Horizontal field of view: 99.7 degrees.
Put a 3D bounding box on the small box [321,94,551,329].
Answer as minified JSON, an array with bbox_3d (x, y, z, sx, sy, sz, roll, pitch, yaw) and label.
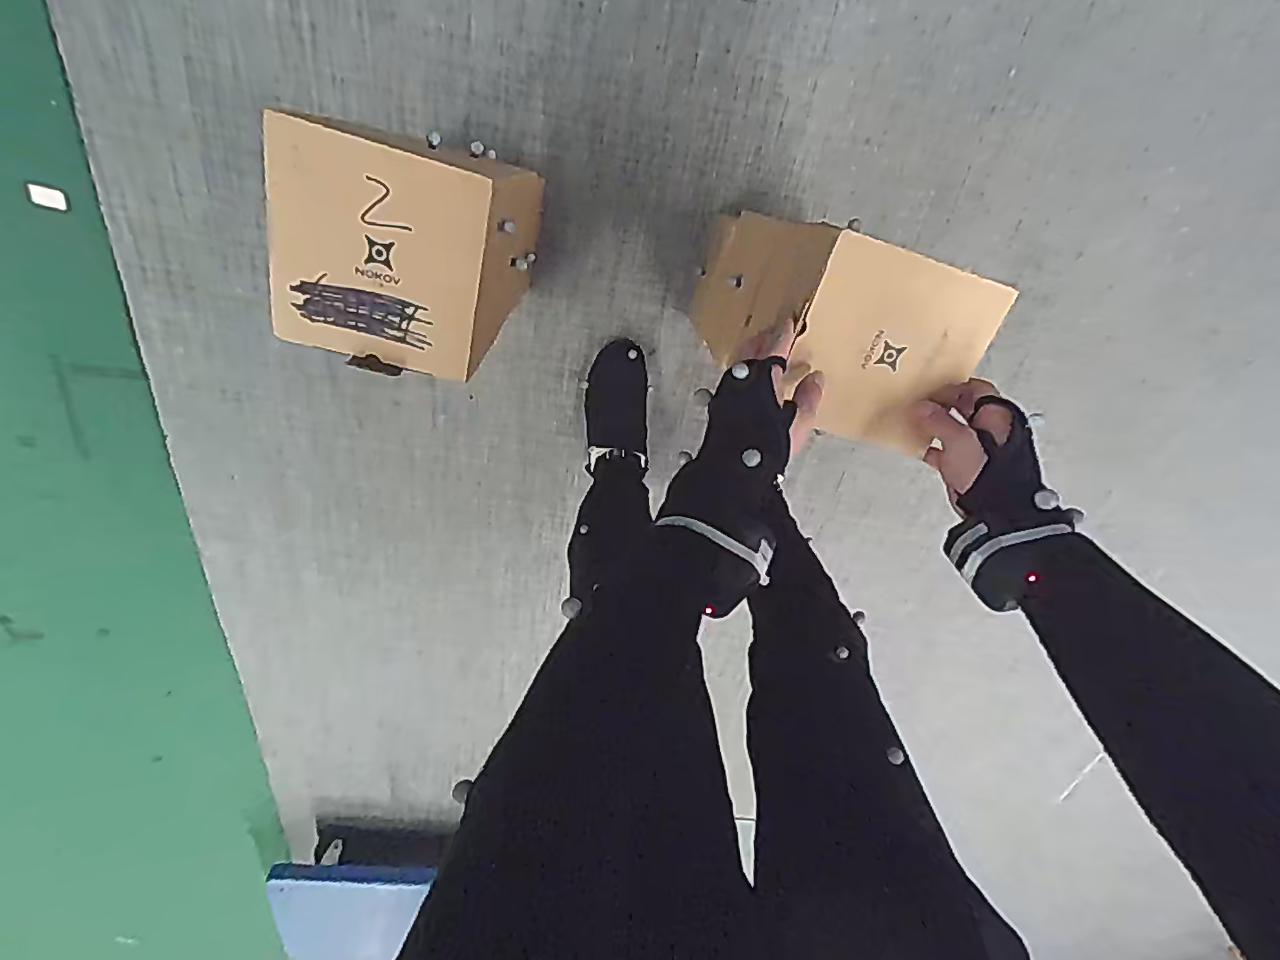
[{"bbox_3d":[-0.232,-0.319,0.659,0.168,0.176,0.179,-39,114,20],"label":"small box"}]

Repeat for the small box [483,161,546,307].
[{"bbox_3d":[-0.240,-0.380,0.801,0.168,0.176,0.179,12,118,-9],"label":"small box"}]

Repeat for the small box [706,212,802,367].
[{"bbox_3d":[0.197,-0.237,0.713,0.168,0.176,0.179,14,118,-10],"label":"small box"}]

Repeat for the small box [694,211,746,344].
[{"bbox_3d":[0.189,-0.311,0.860,0.168,0.176,0.179,10,120,-8],"label":"small box"}]

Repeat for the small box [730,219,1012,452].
[{"bbox_3d":[0.210,-0.153,0.553,0.179,0.176,0.168,14,116,-11],"label":"small box"}]
